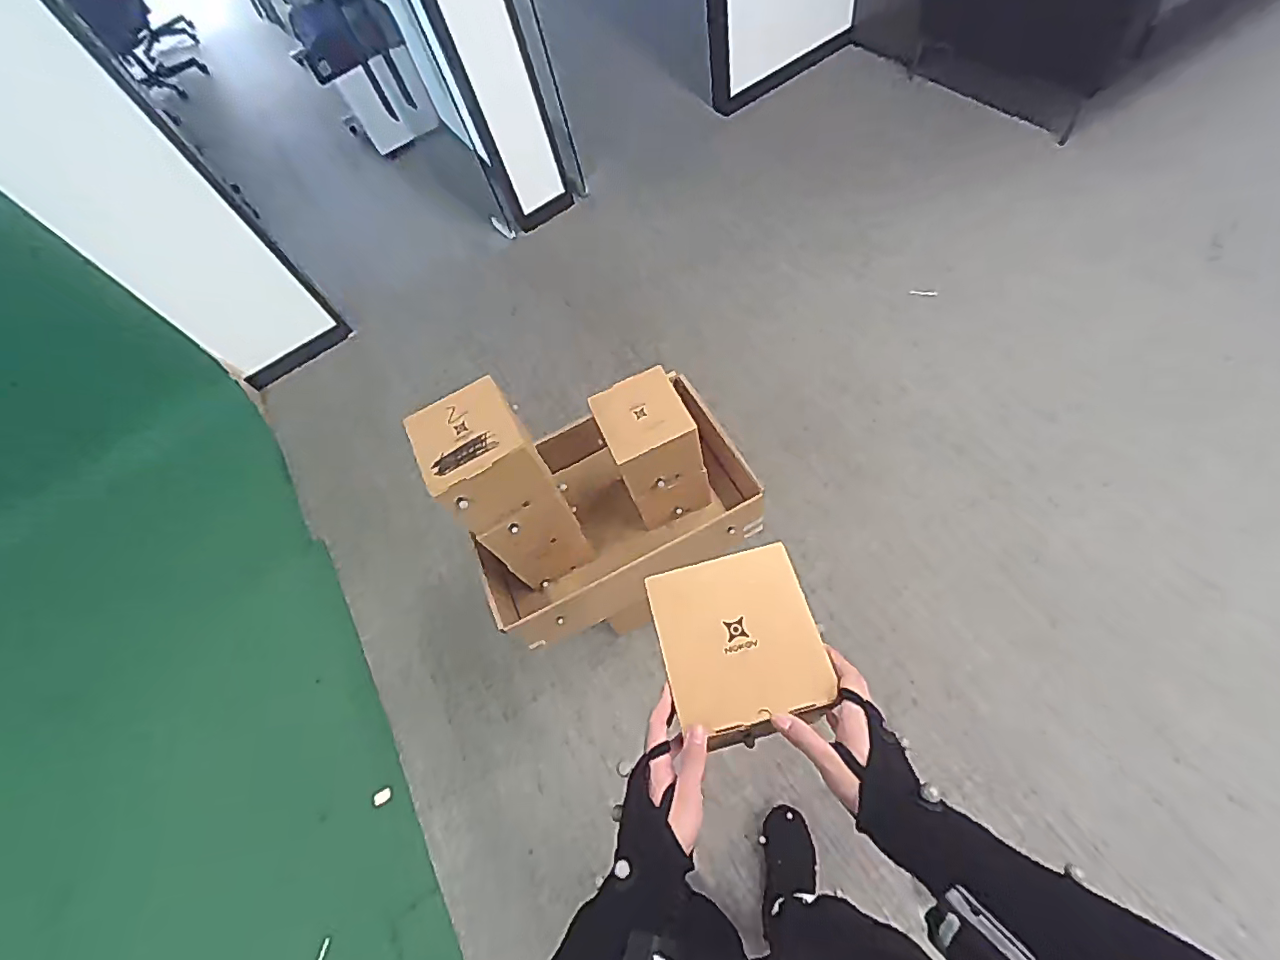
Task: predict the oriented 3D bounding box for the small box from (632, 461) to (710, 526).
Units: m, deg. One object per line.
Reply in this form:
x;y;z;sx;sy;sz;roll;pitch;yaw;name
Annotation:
0.051;-0.024;1.235;0.168;0.176;0.179;-24;61;-1;small box

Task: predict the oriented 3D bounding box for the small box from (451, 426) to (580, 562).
-0.242;0.033;1.074;0.168;0.176;0.179;-30;60;-4;small box

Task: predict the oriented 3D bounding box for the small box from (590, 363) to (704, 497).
0.018;-0.097;1.093;0.168;0.176;0.179;-25;60;-2;small box

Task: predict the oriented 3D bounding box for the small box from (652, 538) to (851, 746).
0.115;0.194;0.632;0.168;0.176;0.179;-14;60;-1;small box
